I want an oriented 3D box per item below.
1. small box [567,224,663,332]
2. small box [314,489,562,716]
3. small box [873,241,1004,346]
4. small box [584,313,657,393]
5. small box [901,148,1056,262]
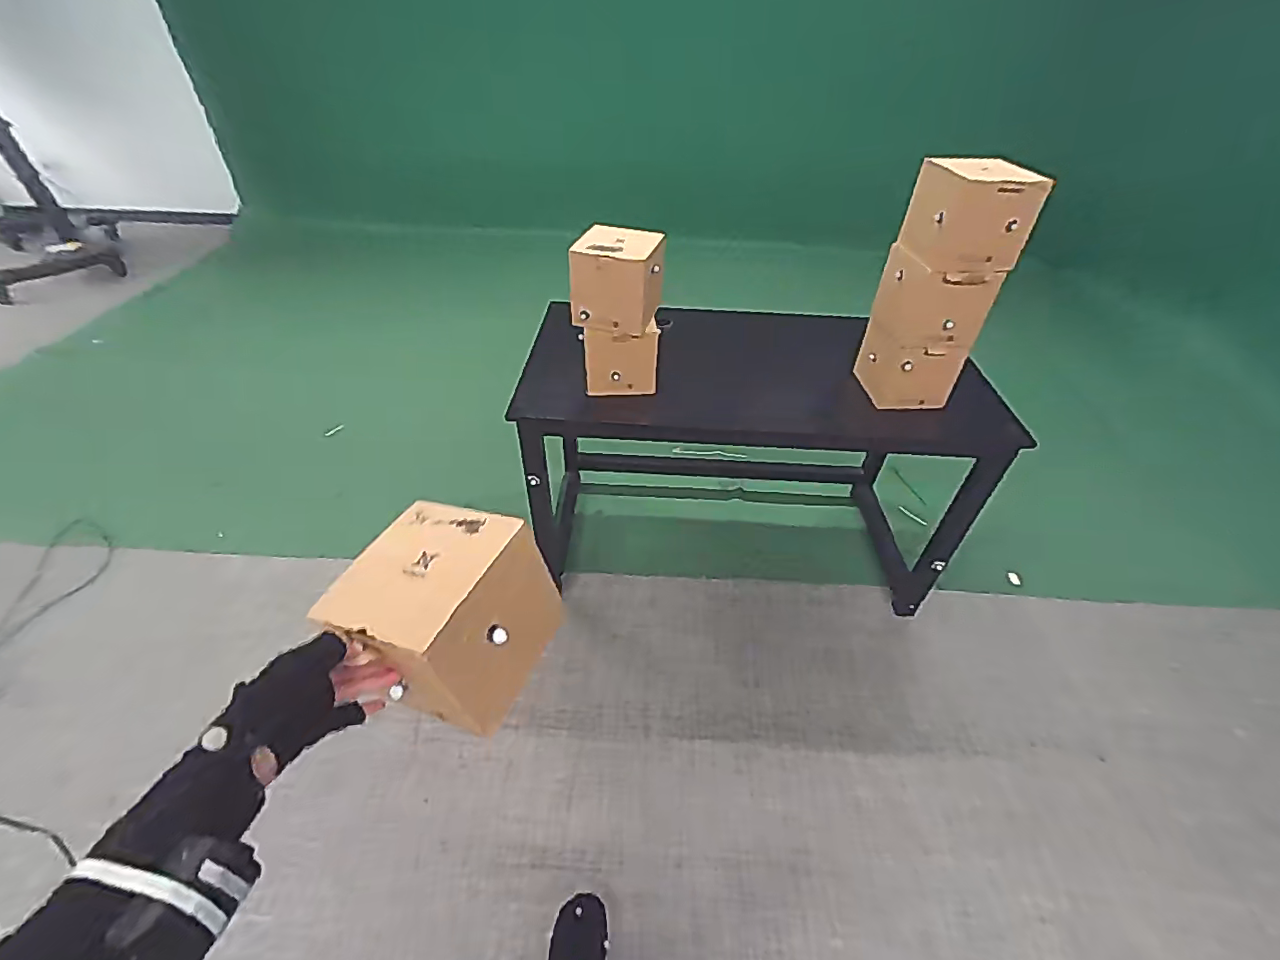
[{"bbox_3d":[-0.051,-0.450,1.207,0.168,0.176,0.179,13,44,10],"label":"small box"},{"bbox_3d":[-0.212,0.138,0.621,0.168,0.176,0.179,9,46,25],"label":"small box"},{"bbox_3d":[0.644,-0.413,1.195,0.168,0.176,0.179,-3,43,-4],"label":"small box"},{"bbox_3d":[-0.053,-0.329,1.319,0.168,0.176,0.179,-2,44,-6],"label":"small box"},{"bbox_3d":[0.656,-0.545,1.074,0.168,0.176,0.179,-2,42,-5],"label":"small box"}]
